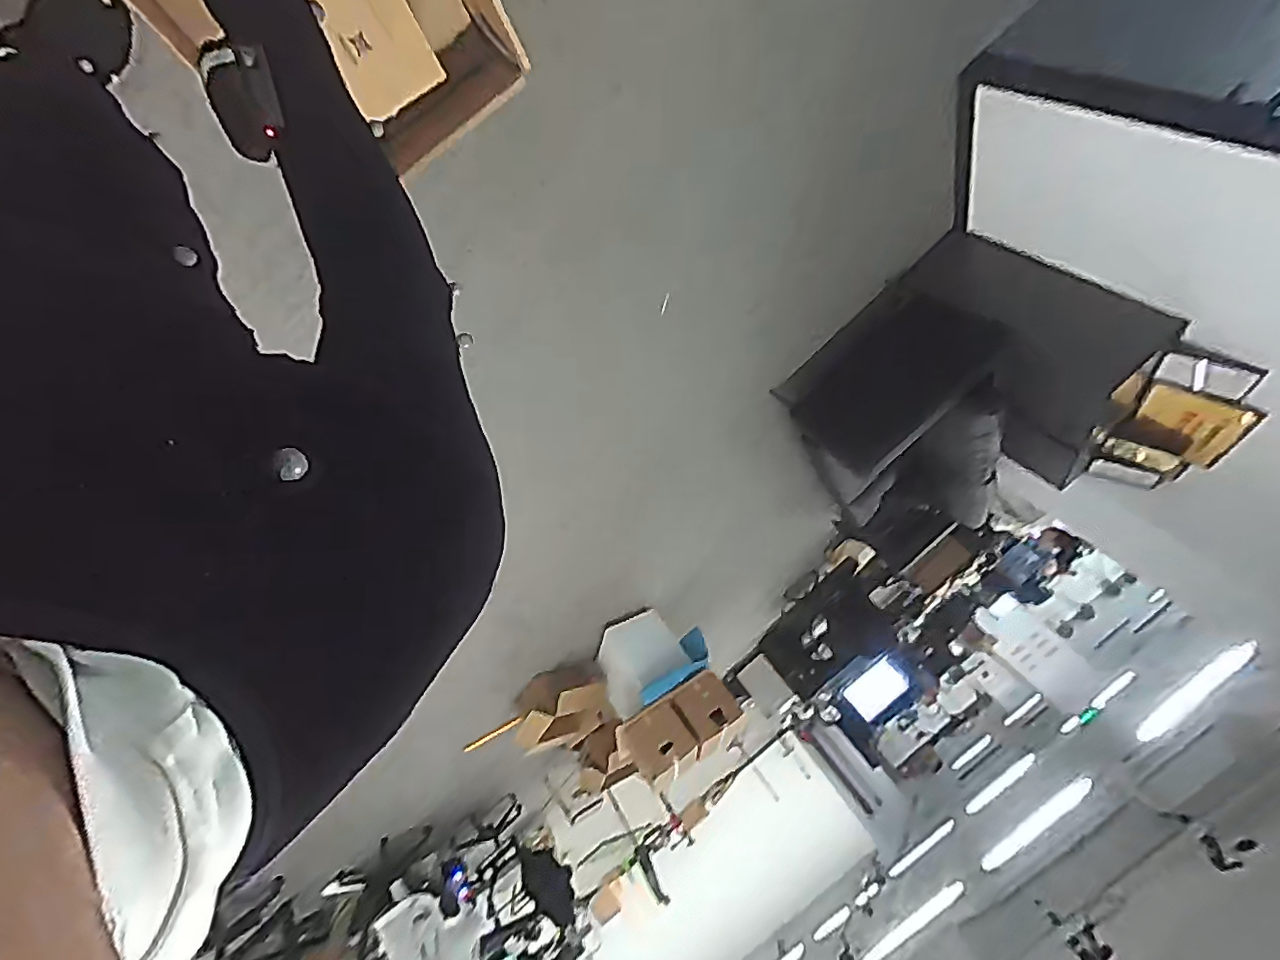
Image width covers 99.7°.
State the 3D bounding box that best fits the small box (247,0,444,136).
[{"bbox_3d":[-0.416,-0.633,0.764,0.179,0.176,0.168,-36,146,-4],"label":"small box"}]
